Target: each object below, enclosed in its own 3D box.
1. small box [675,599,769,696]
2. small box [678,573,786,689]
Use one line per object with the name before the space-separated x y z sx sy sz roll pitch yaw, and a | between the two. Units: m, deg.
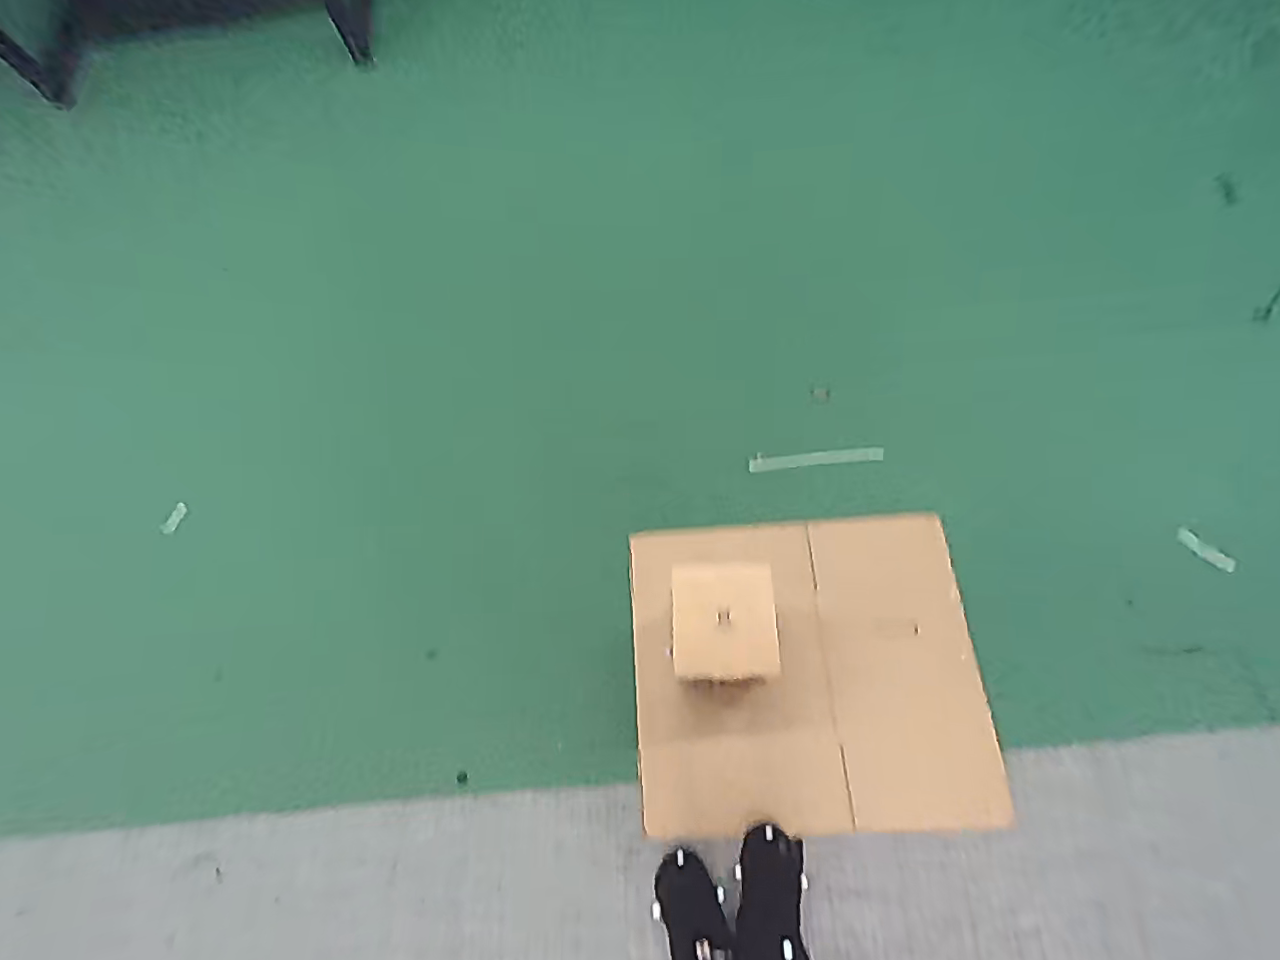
small box | 0.160 0.335 1.077 0.168 0.176 0.179 -4 68 5
small box | 0.149 0.264 0.931 0.168 0.176 0.179 -2 69 5
